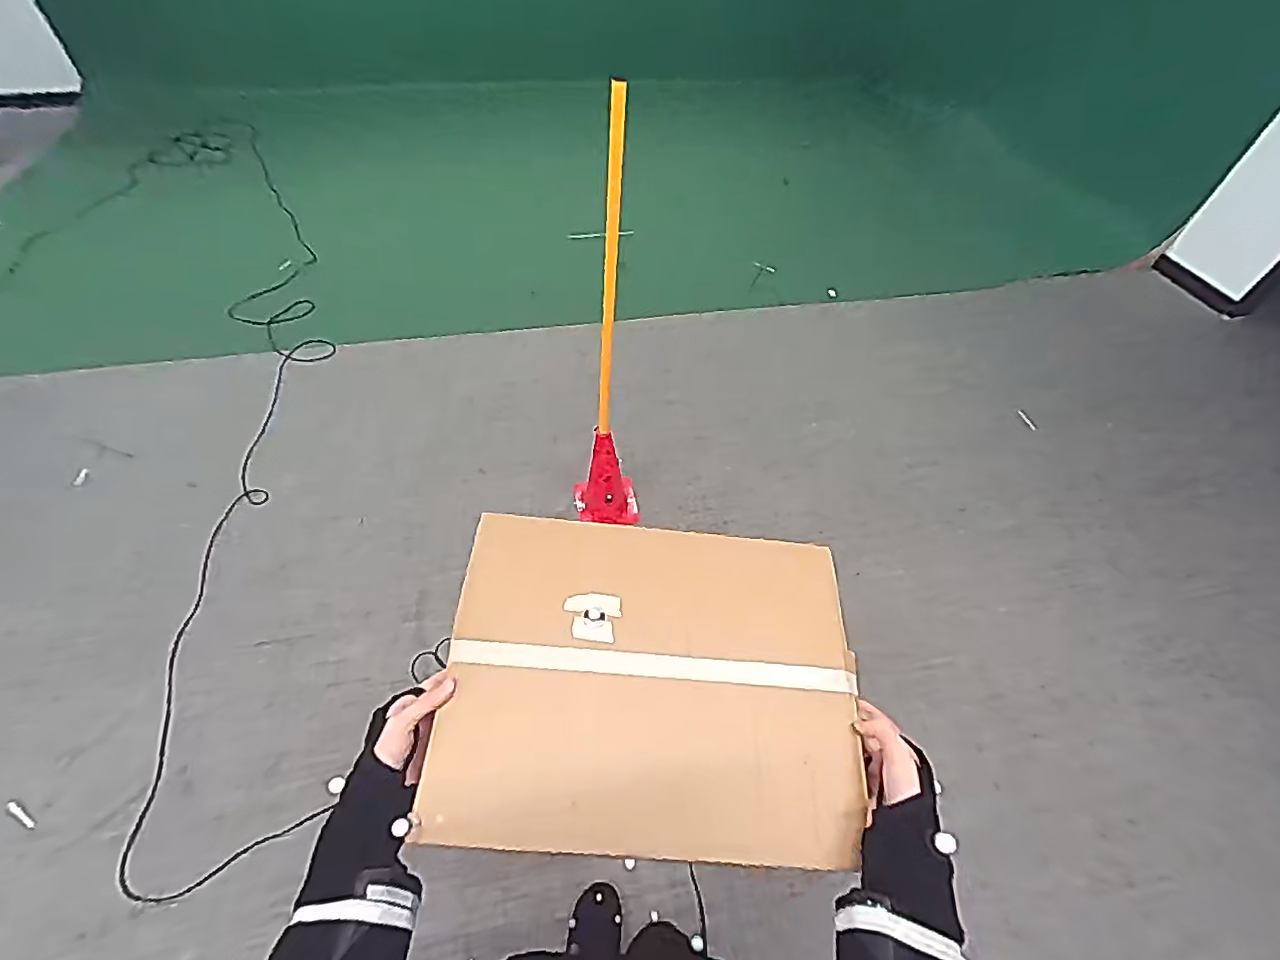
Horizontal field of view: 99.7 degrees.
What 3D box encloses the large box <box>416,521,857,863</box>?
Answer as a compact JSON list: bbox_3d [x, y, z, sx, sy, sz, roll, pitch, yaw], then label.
[{"bbox_3d":[-0.002,0.270,0.682,0.408,0.320,0.320,6,58,-3],"label":"large box"}]
